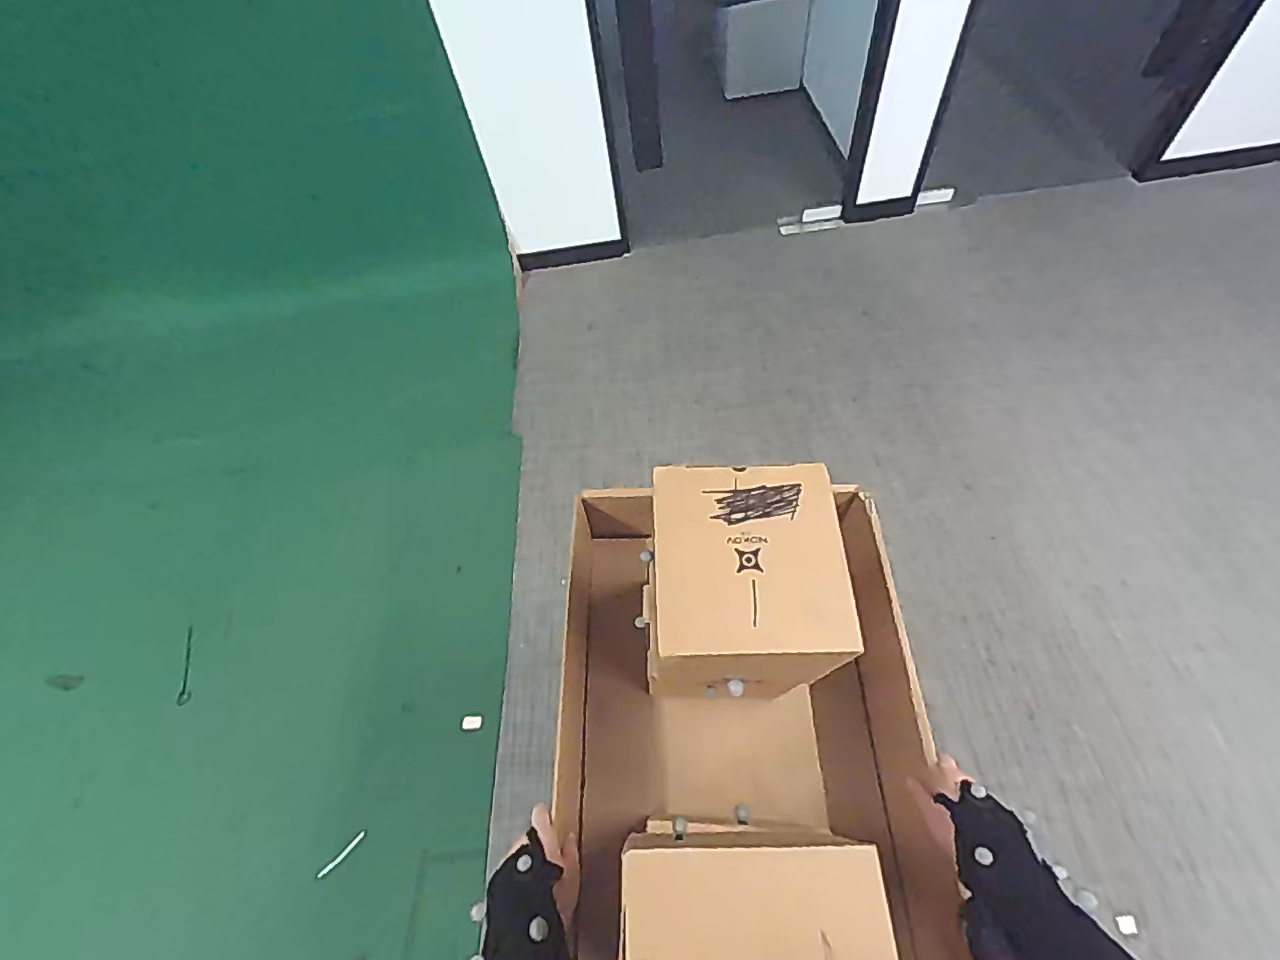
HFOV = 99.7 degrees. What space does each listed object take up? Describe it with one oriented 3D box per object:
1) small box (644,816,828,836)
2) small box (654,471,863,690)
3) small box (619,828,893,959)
[{"bbox_3d":[0.090,0.442,0.544,0.179,0.176,0.168,2,60,3],"label":"small box"},{"bbox_3d":[0.098,0.106,0.542,0.168,0.176,0.179,-1,62,1],"label":"small box"},{"bbox_3d":[0.076,0.365,0.403,0.179,0.176,0.168,-1,61,-1],"label":"small box"}]
